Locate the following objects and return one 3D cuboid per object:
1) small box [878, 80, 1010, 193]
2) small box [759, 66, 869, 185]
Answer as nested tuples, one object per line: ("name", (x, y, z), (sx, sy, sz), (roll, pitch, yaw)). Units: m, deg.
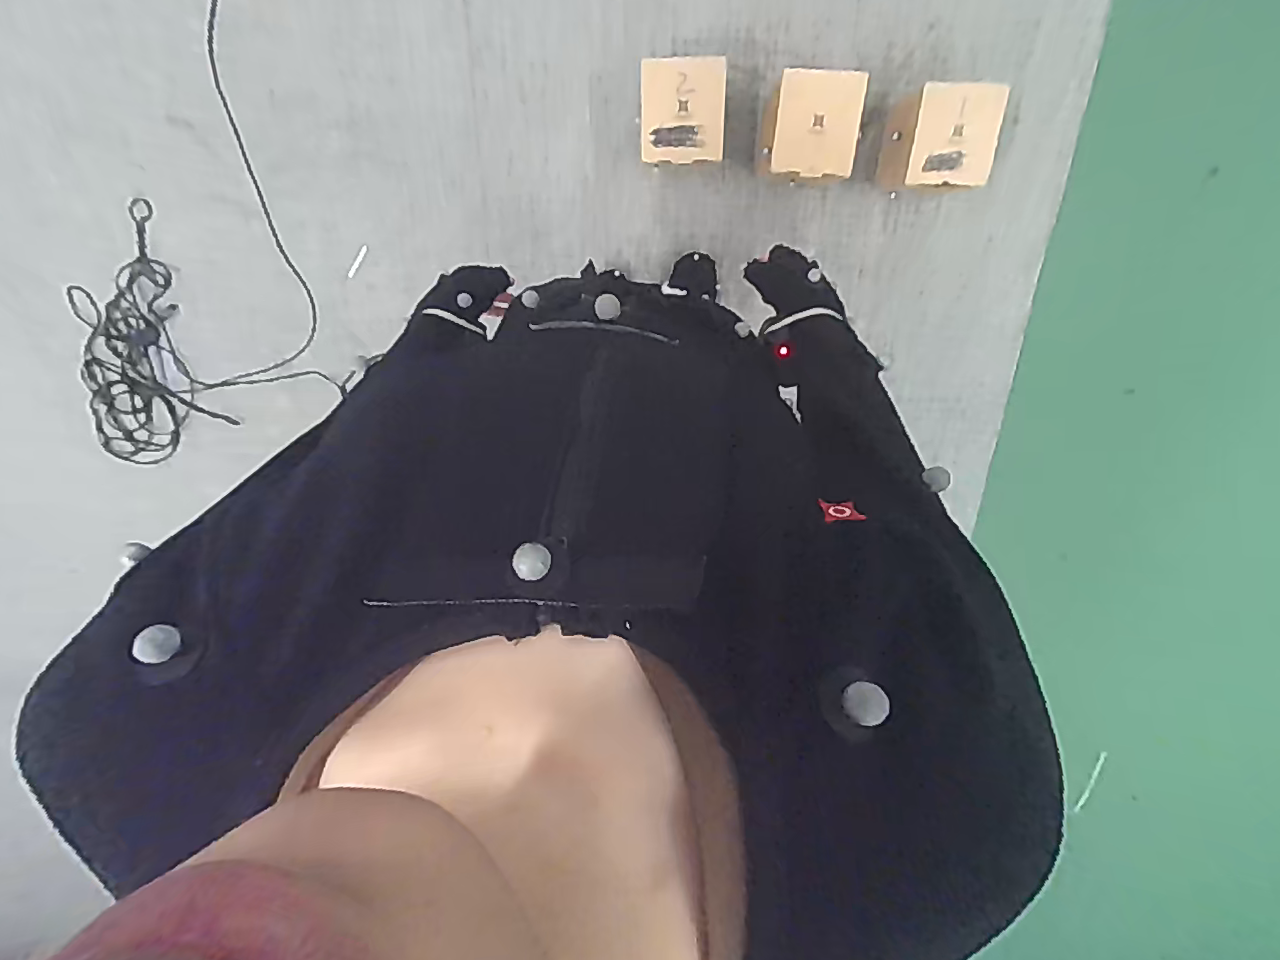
("small box", (0.619, -0.706, 1.129), (0.168, 0.176, 0.179), (3, 113, 1))
("small box", (0.351, -0.730, 1.129), (0.168, 0.176, 0.179), (3, 113, 0))
